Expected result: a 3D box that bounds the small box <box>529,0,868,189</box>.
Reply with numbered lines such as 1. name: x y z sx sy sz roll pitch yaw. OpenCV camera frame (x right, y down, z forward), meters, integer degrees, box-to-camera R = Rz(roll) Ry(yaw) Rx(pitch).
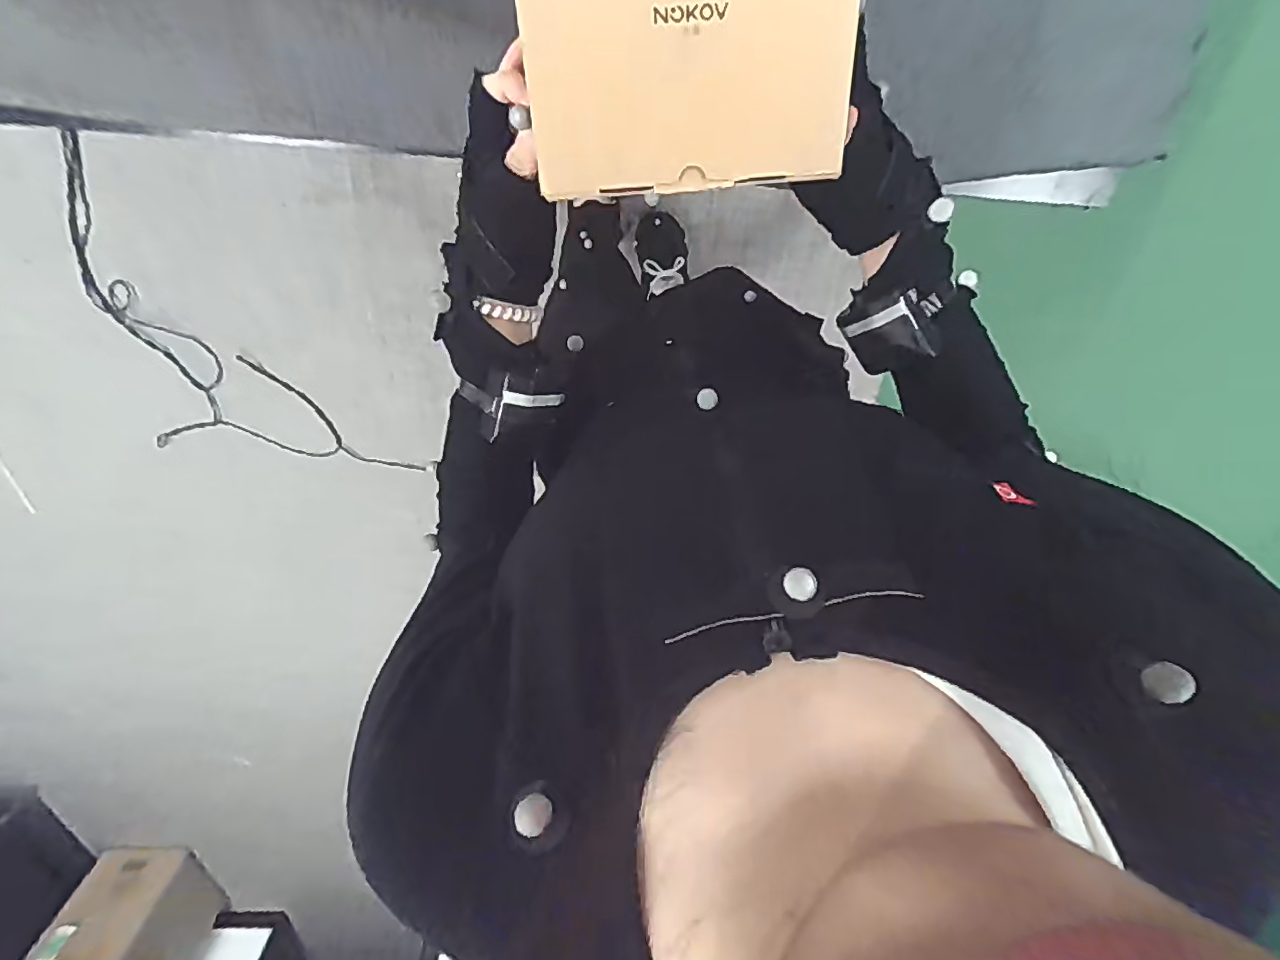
1. small box: 0.021 -0.278 0.318 0.168 0.176 0.179 -6 122 -1
